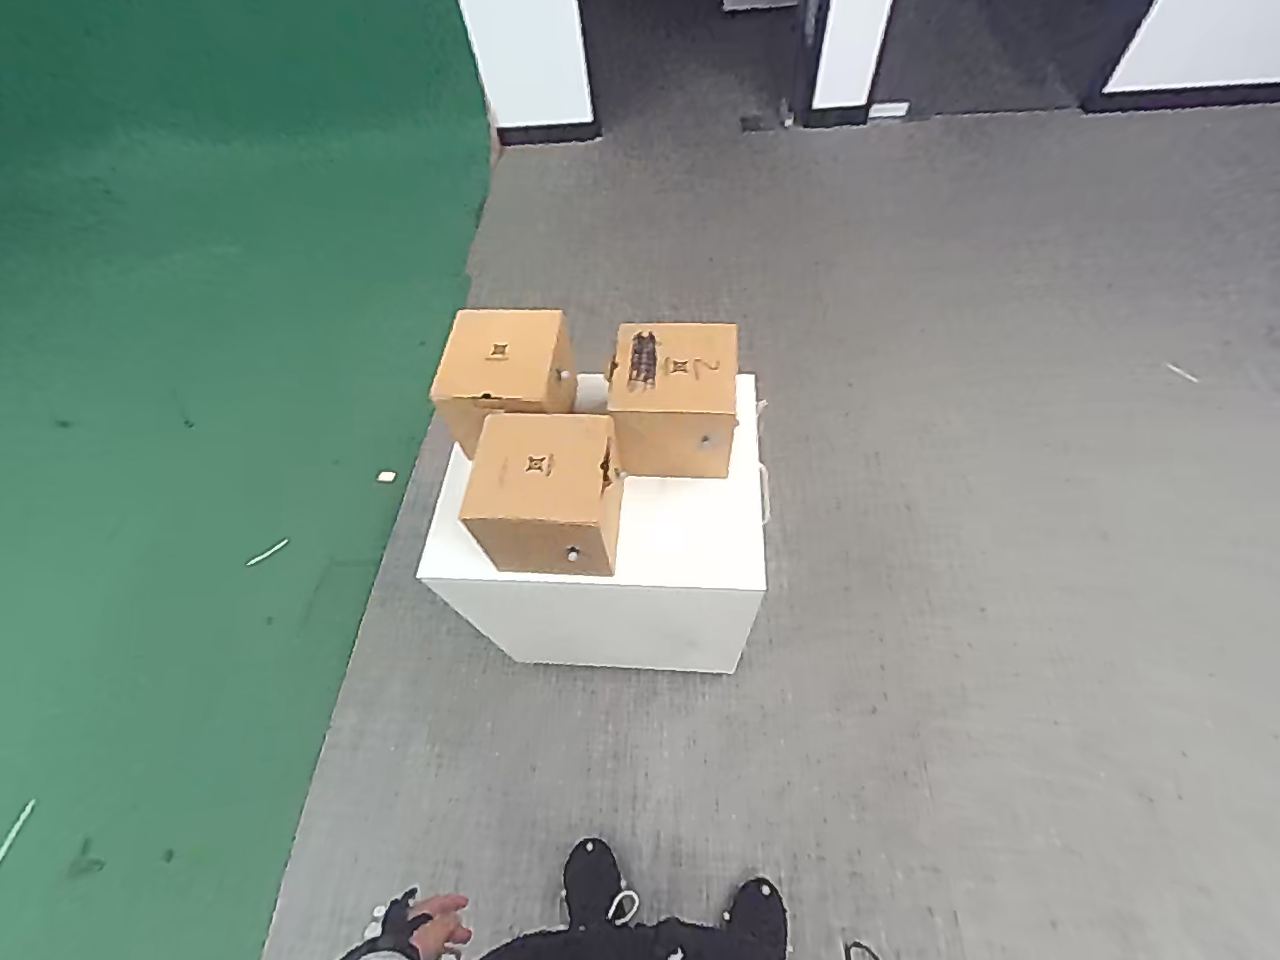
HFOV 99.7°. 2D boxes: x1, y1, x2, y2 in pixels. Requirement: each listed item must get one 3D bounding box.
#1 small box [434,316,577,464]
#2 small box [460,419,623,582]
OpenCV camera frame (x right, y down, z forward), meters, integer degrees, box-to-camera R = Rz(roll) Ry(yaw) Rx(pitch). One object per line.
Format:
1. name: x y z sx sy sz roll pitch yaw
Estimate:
1. small box: -0.199 -0.137 0.860 0.168 0.176 0.179 2 59 5
2. small box: -0.120 0.033 0.749 0.179 0.176 0.168 1 56 6
